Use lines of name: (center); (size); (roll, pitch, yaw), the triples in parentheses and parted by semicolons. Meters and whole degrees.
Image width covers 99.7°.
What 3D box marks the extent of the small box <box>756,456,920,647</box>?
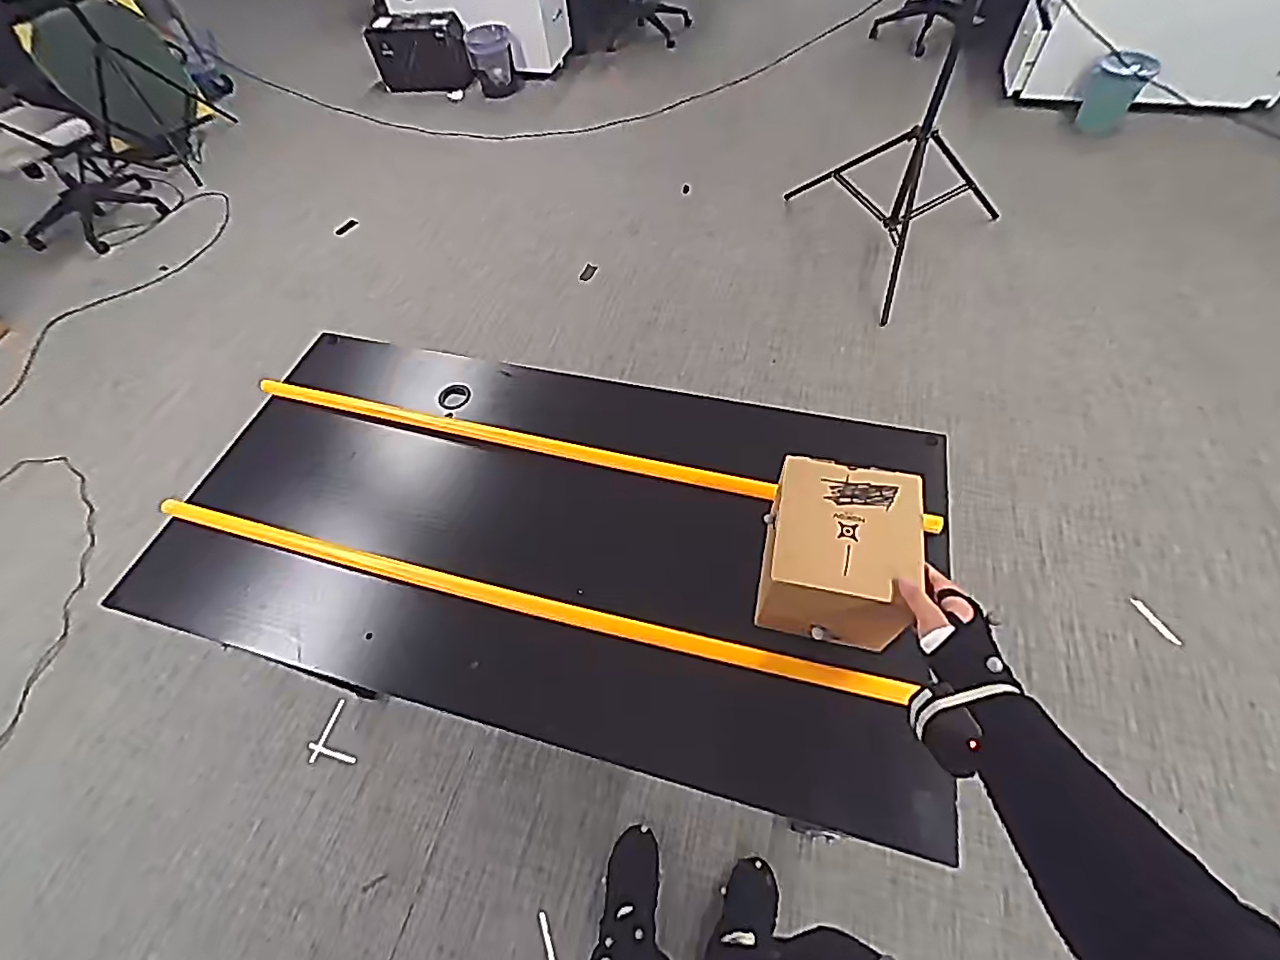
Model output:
small box: (0.250, 0.096, 0.709); (0.168, 0.176, 0.179); (10, 59, 11)
